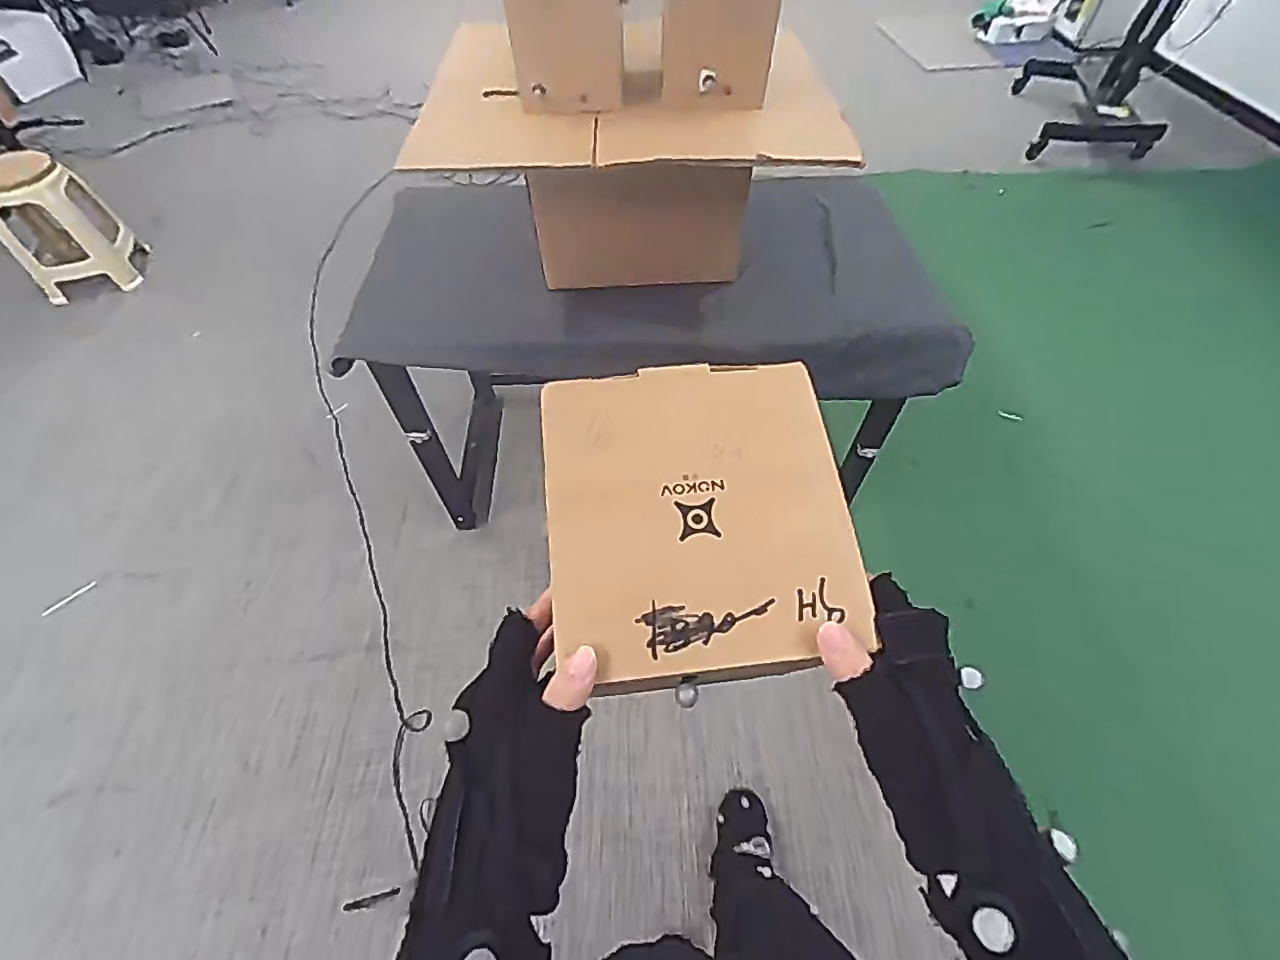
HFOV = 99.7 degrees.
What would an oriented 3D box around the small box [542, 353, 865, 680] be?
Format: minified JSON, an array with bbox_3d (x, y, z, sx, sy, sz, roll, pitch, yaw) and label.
[{"bbox_3d":[0.025,0.036,0.380,0.168,0.176,0.179,-6,67,-3],"label":"small box"}]

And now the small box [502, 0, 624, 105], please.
[{"bbox_3d":[-0.113,-0.722,0.859,0.168,0.176,0.179,0,55,1],"label":"small box"}]
